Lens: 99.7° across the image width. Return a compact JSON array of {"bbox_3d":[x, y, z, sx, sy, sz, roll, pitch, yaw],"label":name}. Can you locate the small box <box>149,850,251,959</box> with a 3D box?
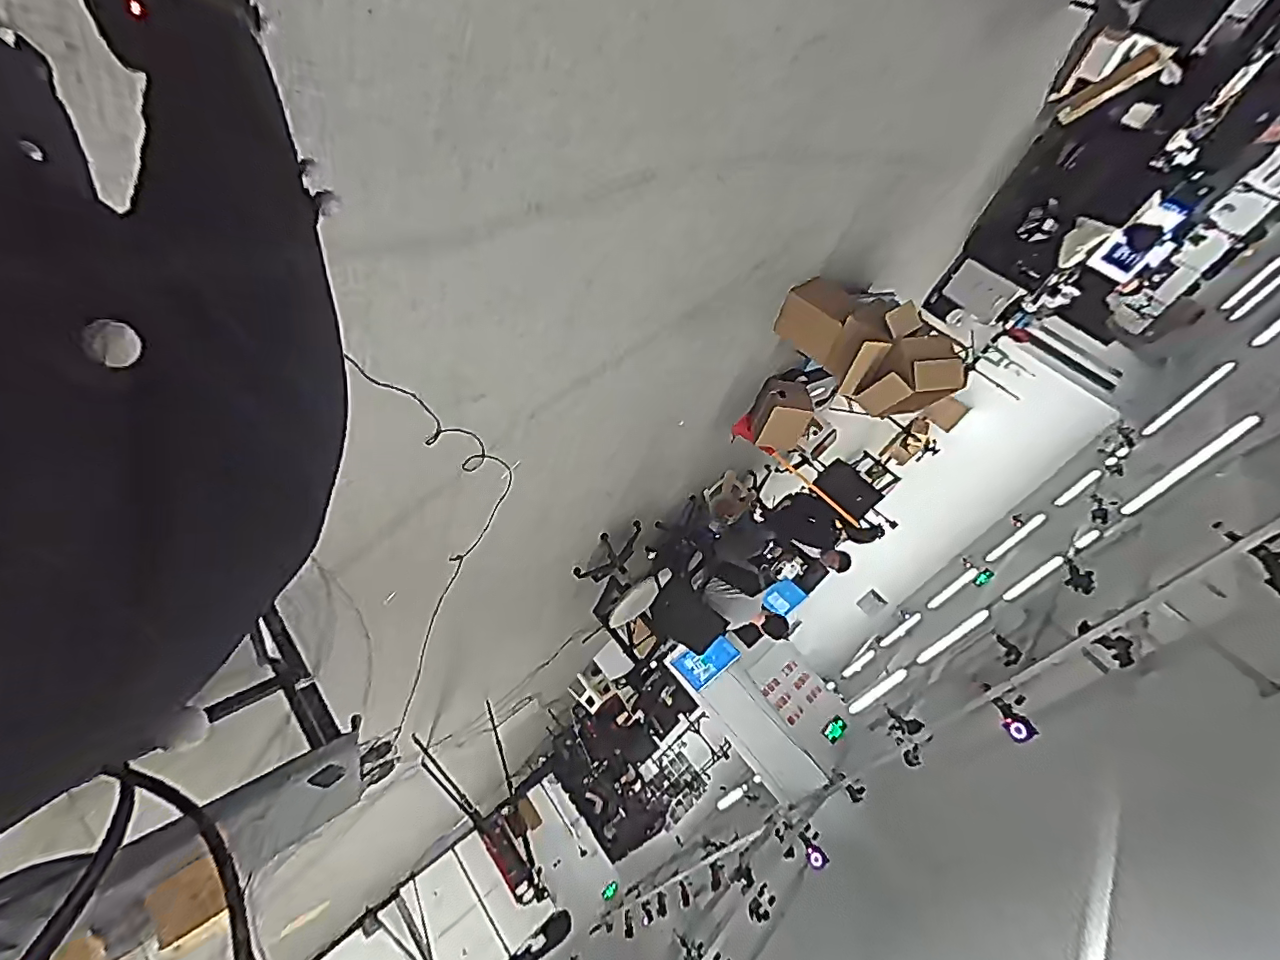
[{"bbox_3d":[-1.276,1.228,1.573,0.179,0.176,0.168,-25,150,-42],"label":"small box"}]

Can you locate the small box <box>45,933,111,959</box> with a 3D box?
[{"bbox_3d":[-1.468,1.310,1.377,0.168,0.176,0.179,-22,150,-44],"label":"small box"}]
